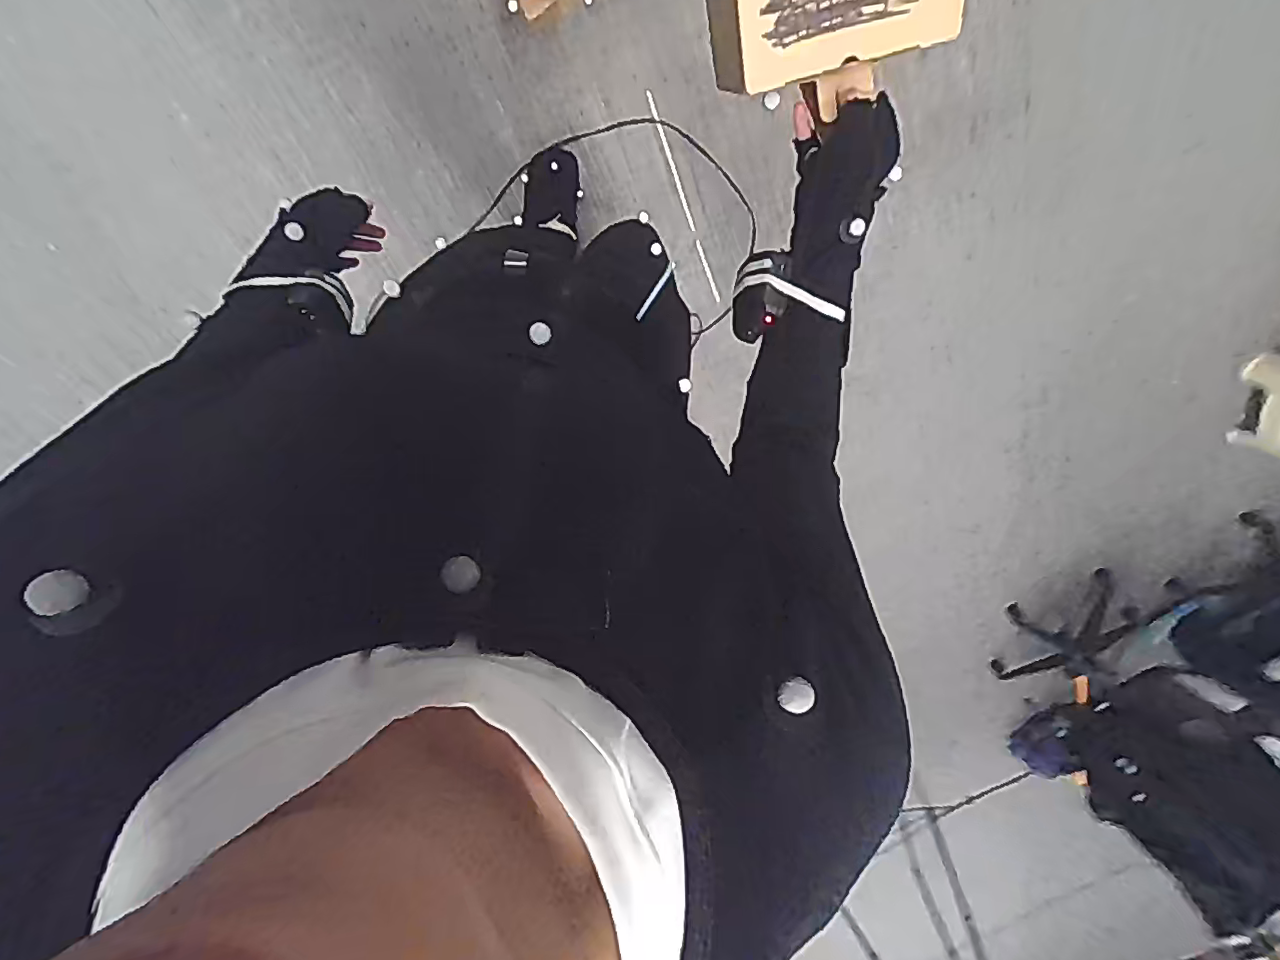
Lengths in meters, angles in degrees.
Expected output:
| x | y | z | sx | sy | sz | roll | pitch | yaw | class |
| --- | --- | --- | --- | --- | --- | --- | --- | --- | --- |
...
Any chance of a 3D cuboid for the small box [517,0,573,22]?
| x | y | z | sx | sy | sz | roll | pitch | yaw | class |
| --- | --- | --- | --- | --- | --- | --- | --- | --- | --- |
| -0.167 | -0.931 | 0.928 | 0.168 | 0.176 | 0.179 | -27 | 122 | 8 | small box |
